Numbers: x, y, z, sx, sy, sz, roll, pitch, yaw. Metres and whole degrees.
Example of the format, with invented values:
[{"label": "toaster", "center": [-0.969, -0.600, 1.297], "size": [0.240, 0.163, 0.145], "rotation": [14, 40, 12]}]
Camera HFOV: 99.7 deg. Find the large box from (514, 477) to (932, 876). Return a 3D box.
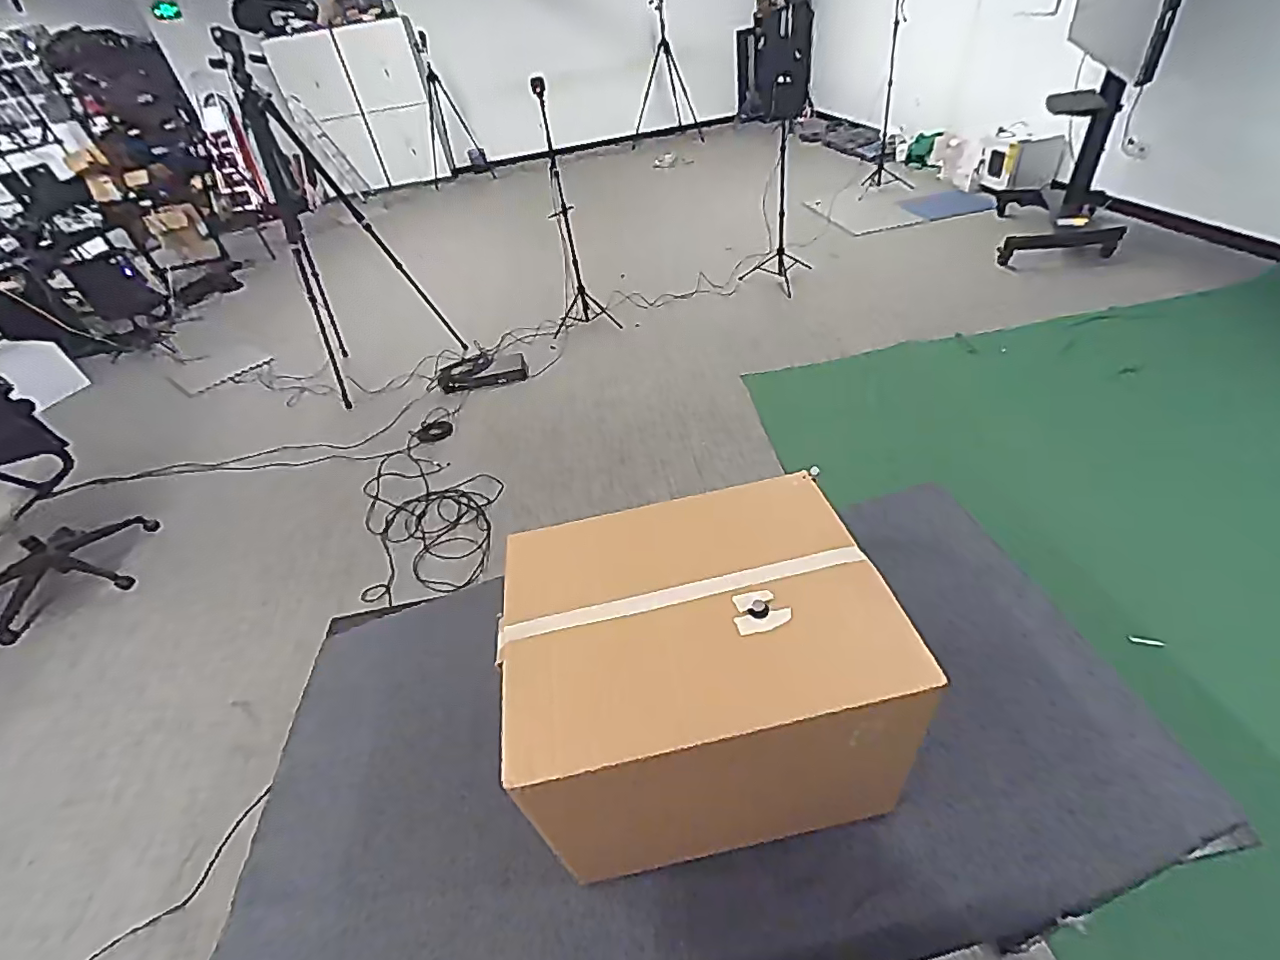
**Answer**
[{"label": "large box", "center": [0.073, 0.245, 0.699], "size": [0.408, 0.320, 0.320], "rotation": [-12, 41, -3]}]
